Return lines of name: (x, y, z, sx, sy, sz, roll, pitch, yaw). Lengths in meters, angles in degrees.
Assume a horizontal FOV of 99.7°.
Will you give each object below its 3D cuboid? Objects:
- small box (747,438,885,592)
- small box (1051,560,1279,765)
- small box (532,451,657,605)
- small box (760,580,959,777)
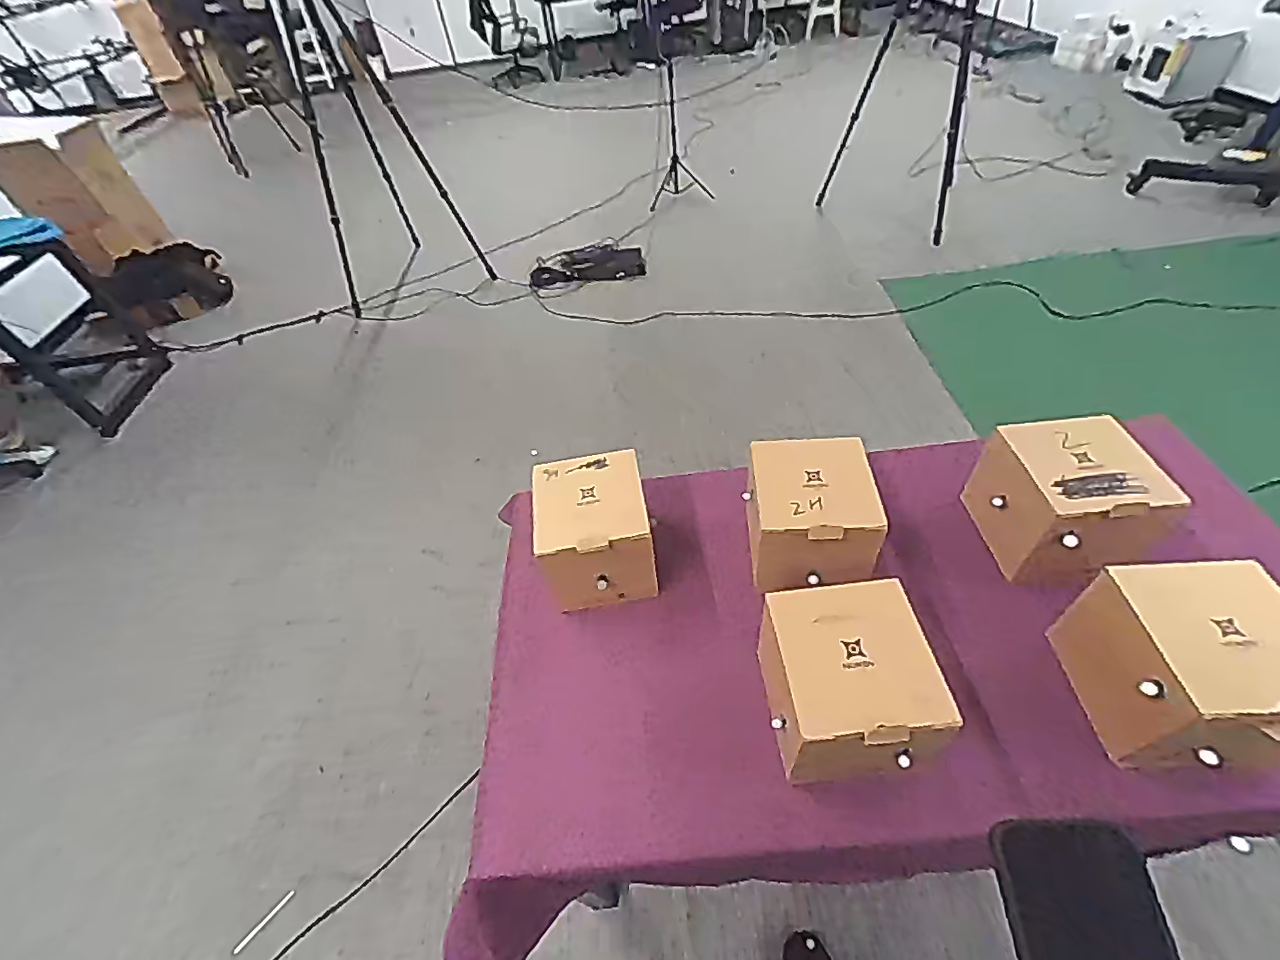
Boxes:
small box: (0.255, 0.055, 0.832, 0.168, 0.176, 0.179, -2, 48, 7)
small box: (0.634, 0.214, 0.632, 0.168, 0.176, 0.179, -4, 48, 6)
small box: (-0.070, 0.083, 0.857, 0.168, 0.176, 0.179, -10, 49, -1)
small box: (0.248, 0.248, 0.662, 0.168, 0.176, 0.179, -7, 47, 2)
